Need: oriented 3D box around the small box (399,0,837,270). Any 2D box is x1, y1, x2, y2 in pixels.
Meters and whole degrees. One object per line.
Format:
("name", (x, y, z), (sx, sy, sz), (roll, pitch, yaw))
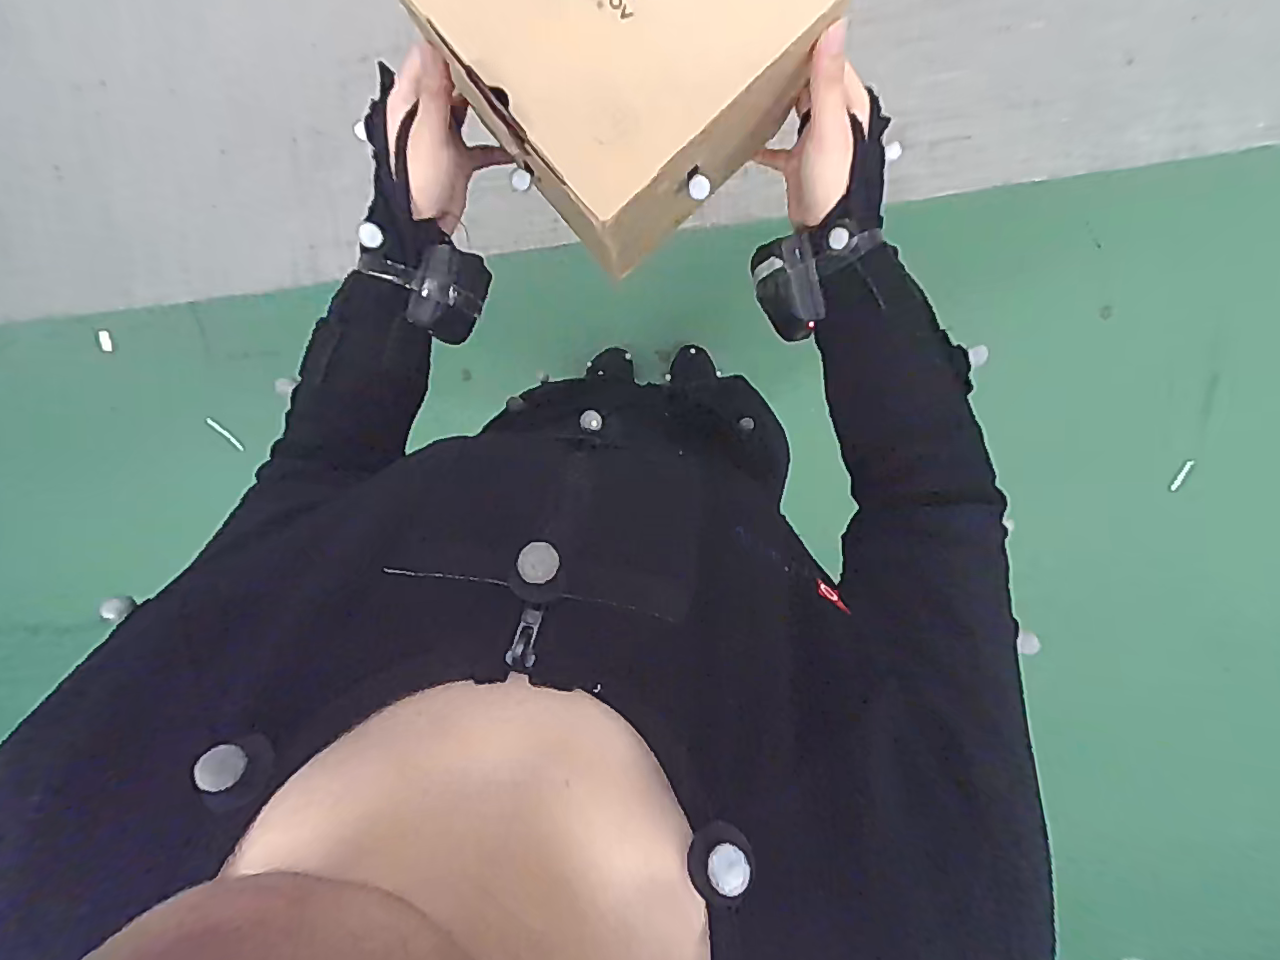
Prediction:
("small box", (-0.009, -0.267, 0.356), (0.179, 0.176, 0.168), (-42, 97, 9))
